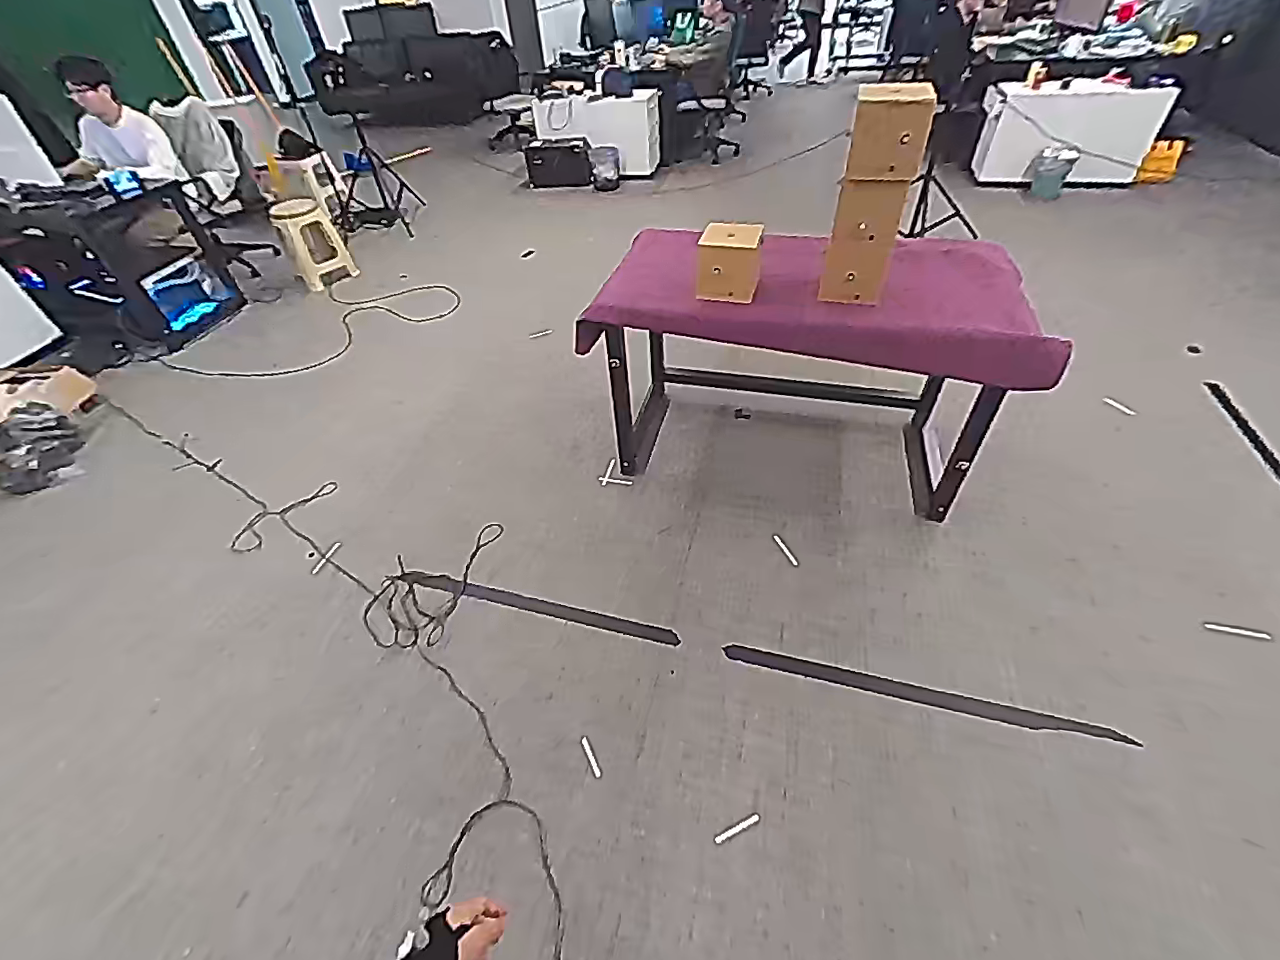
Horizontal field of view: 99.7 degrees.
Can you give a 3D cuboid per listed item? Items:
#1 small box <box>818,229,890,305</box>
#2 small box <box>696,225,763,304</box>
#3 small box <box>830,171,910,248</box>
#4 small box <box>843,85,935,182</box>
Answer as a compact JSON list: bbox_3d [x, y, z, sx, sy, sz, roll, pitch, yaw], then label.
[{"bbox_3d":[0.617,-0.623,1.559,0.168,0.176,0.179,11,46,15],"label":"small box"},{"bbox_3d":[0.265,-0.641,1.609,0.168,0.176,0.179,10,45,14],"label":"small box"},{"bbox_3d":[0.611,-0.741,1.445,0.168,0.176,0.179,10,47,15],"label":"small box"},{"bbox_3d":[0.597,-0.841,1.316,0.168,0.176,0.179,9,46,12],"label":"small box"}]
